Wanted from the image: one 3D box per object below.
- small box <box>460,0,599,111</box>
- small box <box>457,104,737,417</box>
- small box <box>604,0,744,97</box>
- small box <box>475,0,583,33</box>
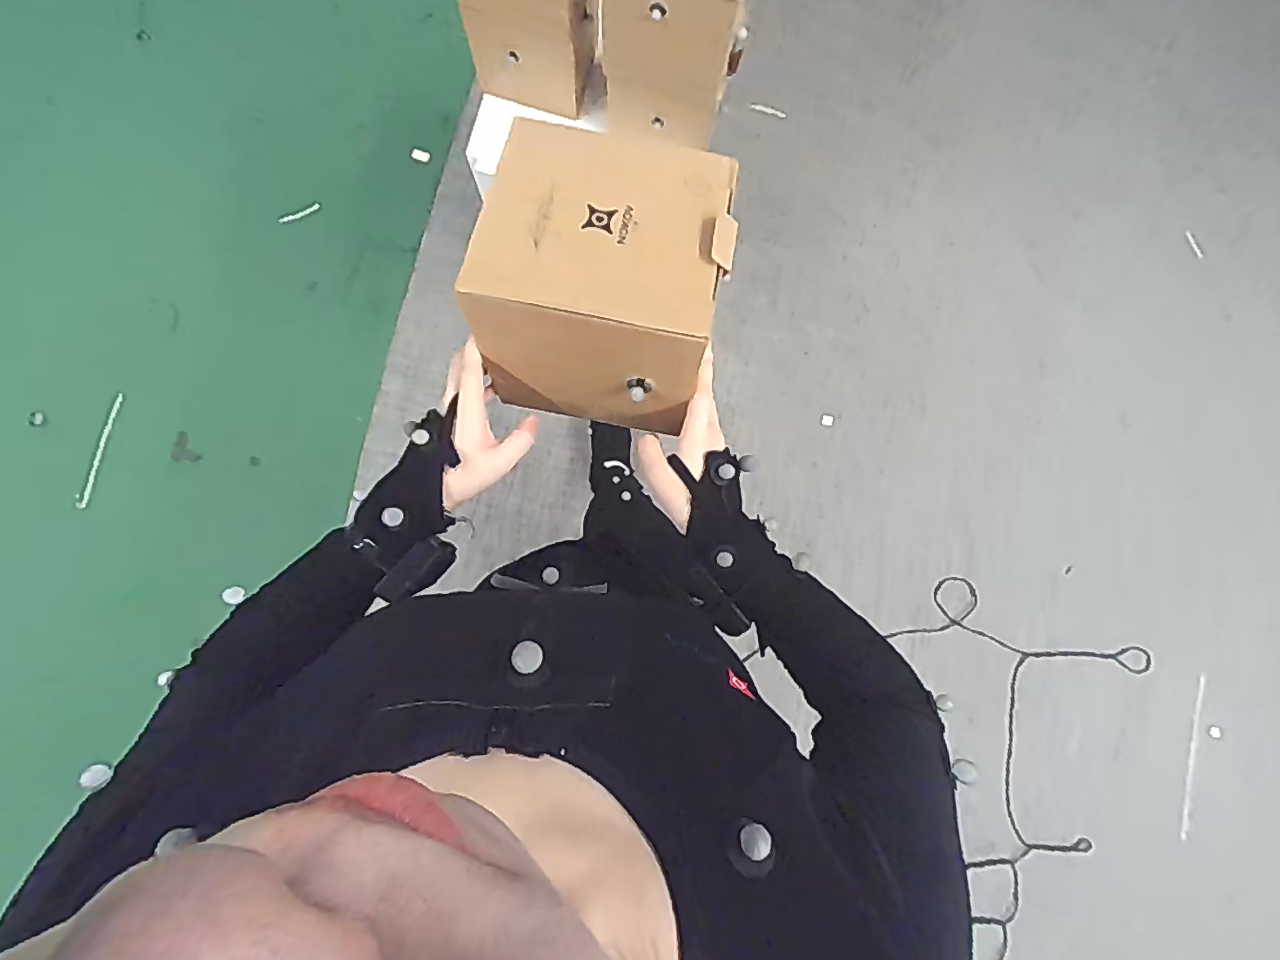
[{"bbox_3d":[-0.171,-0.751,0.887,0.179,0.176,0.168,15,85,-5],"label":"small box"},{"bbox_3d":[-0.030,-0.170,0.462,0.179,0.176,0.168,10,70,0],"label":"small box"},{"bbox_3d":[0.053,-0.669,0.733,0.179,0.176,0.168,15,84,-3],"label":"small box"},{"bbox_3d":[-0.155,-0.760,0.723,0.179,0.176,0.168,17,84,-6],"label":"small box"}]
